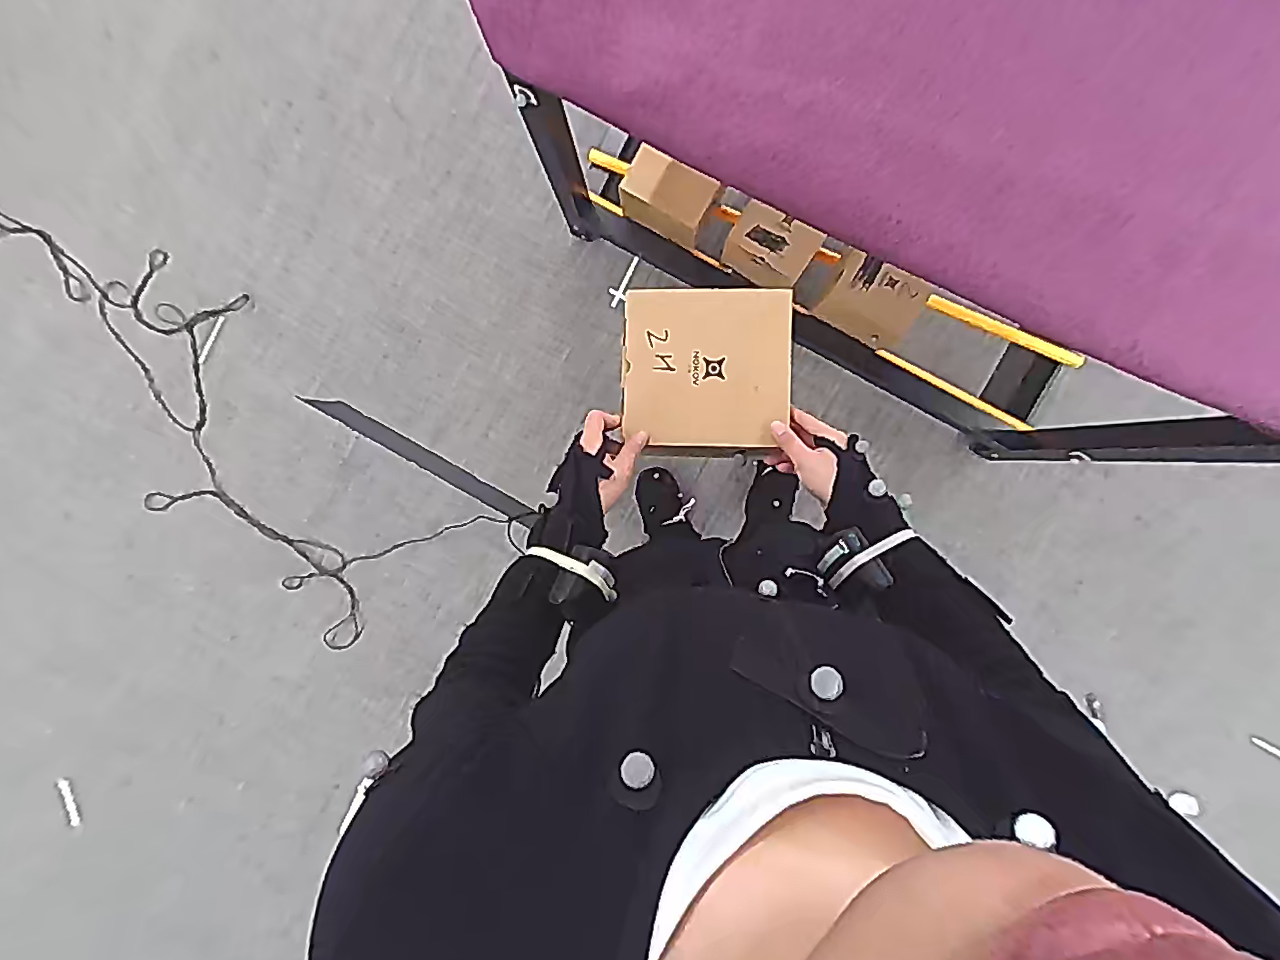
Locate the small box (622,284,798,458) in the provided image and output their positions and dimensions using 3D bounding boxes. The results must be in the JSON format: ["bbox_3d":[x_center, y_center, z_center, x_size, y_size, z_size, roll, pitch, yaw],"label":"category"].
[{"bbox_3d":[0.077,-0.116,0.632,0.179,0.176,0.168,2,88,5],"label":"small box"}]
